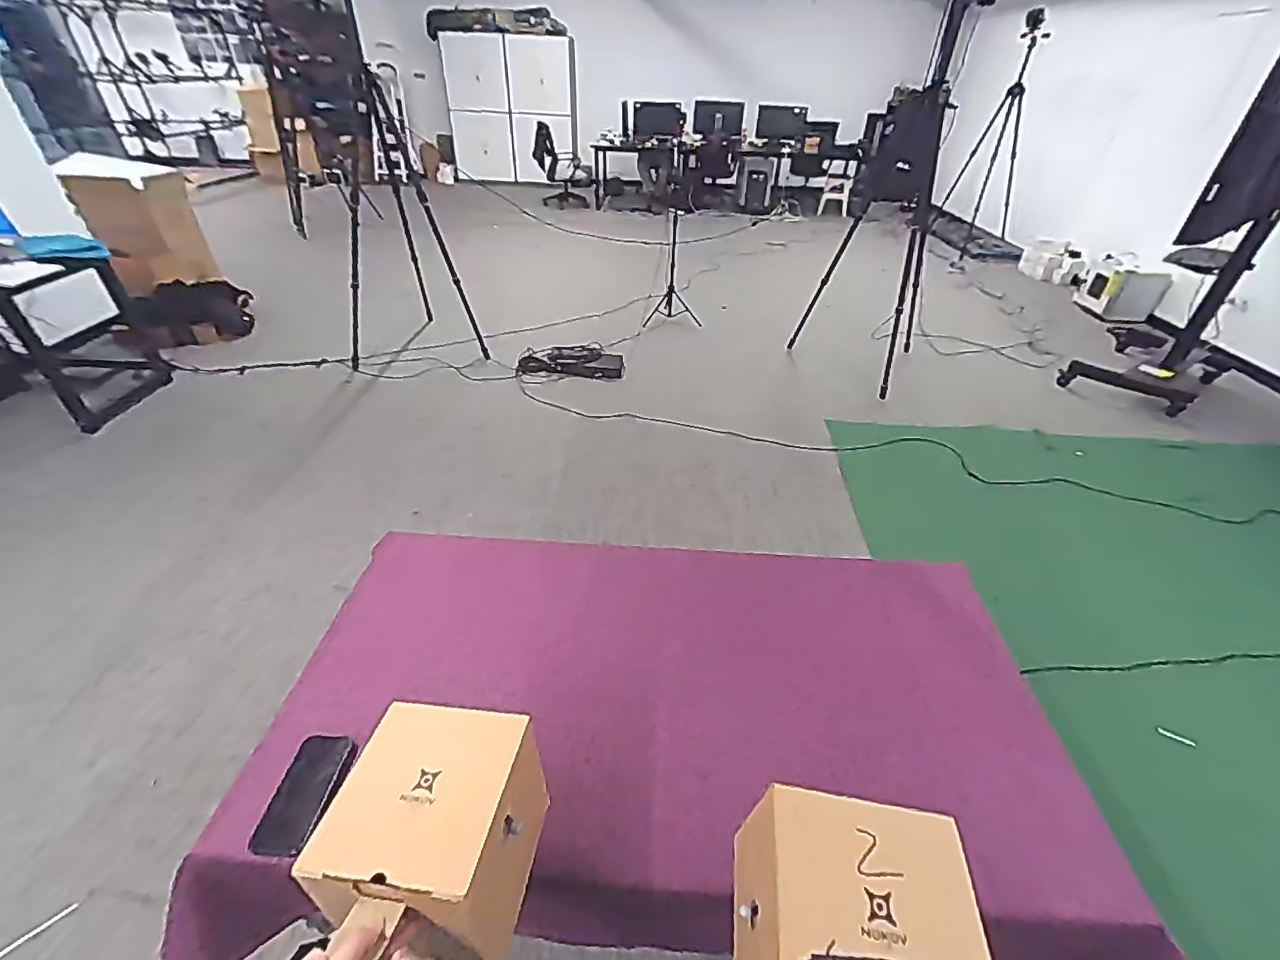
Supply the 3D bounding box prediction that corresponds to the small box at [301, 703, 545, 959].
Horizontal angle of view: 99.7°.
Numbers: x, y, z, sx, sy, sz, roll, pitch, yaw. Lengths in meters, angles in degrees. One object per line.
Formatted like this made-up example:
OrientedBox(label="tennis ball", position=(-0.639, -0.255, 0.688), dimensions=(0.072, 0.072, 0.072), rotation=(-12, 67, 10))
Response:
OrientedBox(label="small box", position=(-0.206, 0.373, 0.575), dimensions=(0.168, 0.176, 0.179), rotation=(3, 32, 9))
